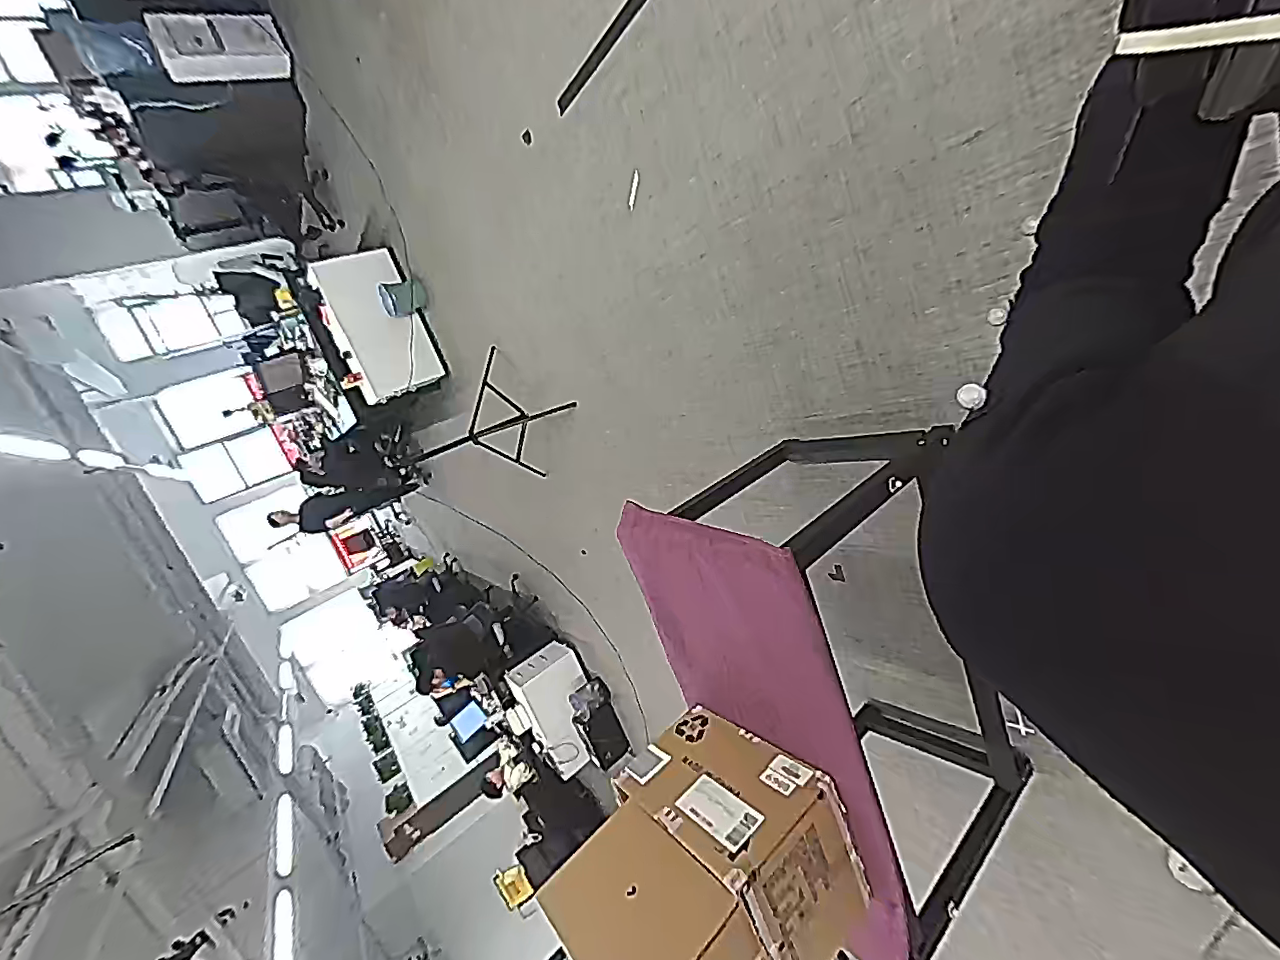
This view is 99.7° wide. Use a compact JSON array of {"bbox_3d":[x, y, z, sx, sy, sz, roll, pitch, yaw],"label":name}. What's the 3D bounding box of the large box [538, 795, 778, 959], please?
[{"bbox_3d":[0.036,1.013,1.210,0.408,0.320,0.320,2,120,56],"label":"large box"}]
